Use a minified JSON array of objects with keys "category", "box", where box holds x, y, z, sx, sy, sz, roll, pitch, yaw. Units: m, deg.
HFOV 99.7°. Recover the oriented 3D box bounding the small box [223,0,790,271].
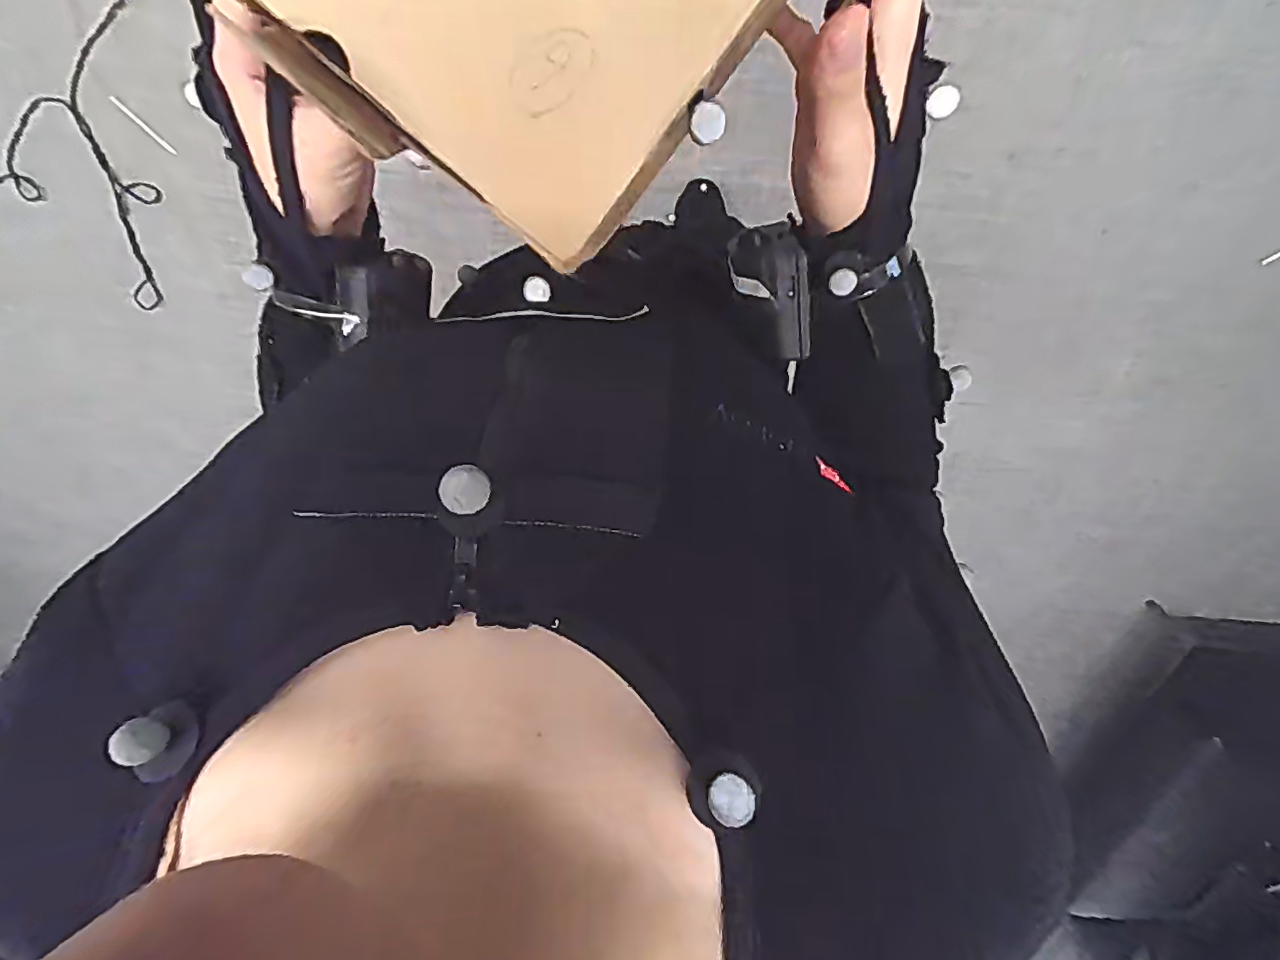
[{"category":"small box","box":[-0.034,-0.208,0.205,0.168,0.176,0.179,37,110,-16]}]
